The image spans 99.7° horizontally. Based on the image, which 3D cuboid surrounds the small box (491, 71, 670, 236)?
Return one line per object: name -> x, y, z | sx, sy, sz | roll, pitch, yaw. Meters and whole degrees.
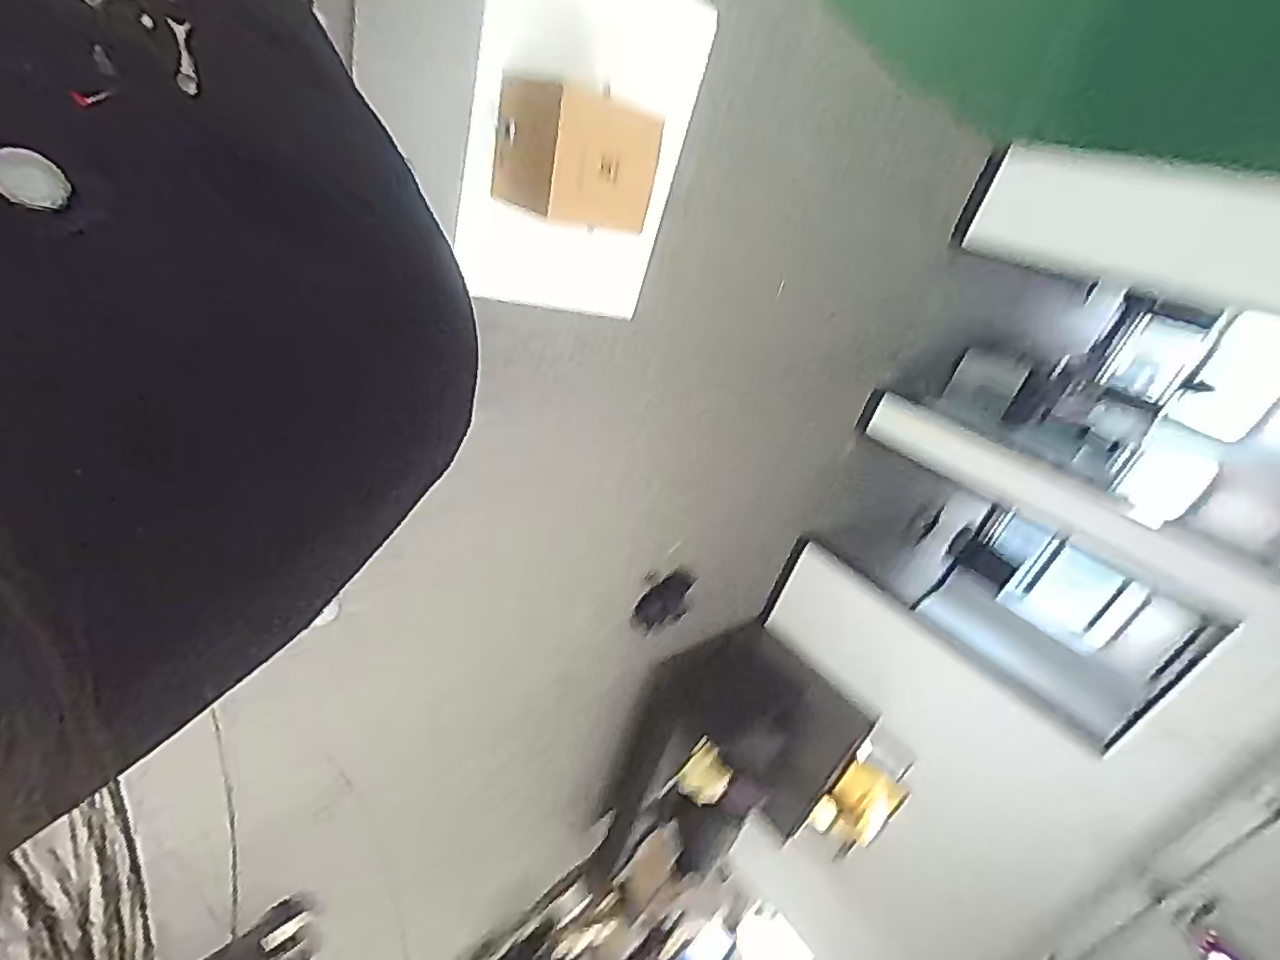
small box -> -0.090, -0.464, 0.775 | 0.179, 0.176, 0.168 | -12, 129, -38
